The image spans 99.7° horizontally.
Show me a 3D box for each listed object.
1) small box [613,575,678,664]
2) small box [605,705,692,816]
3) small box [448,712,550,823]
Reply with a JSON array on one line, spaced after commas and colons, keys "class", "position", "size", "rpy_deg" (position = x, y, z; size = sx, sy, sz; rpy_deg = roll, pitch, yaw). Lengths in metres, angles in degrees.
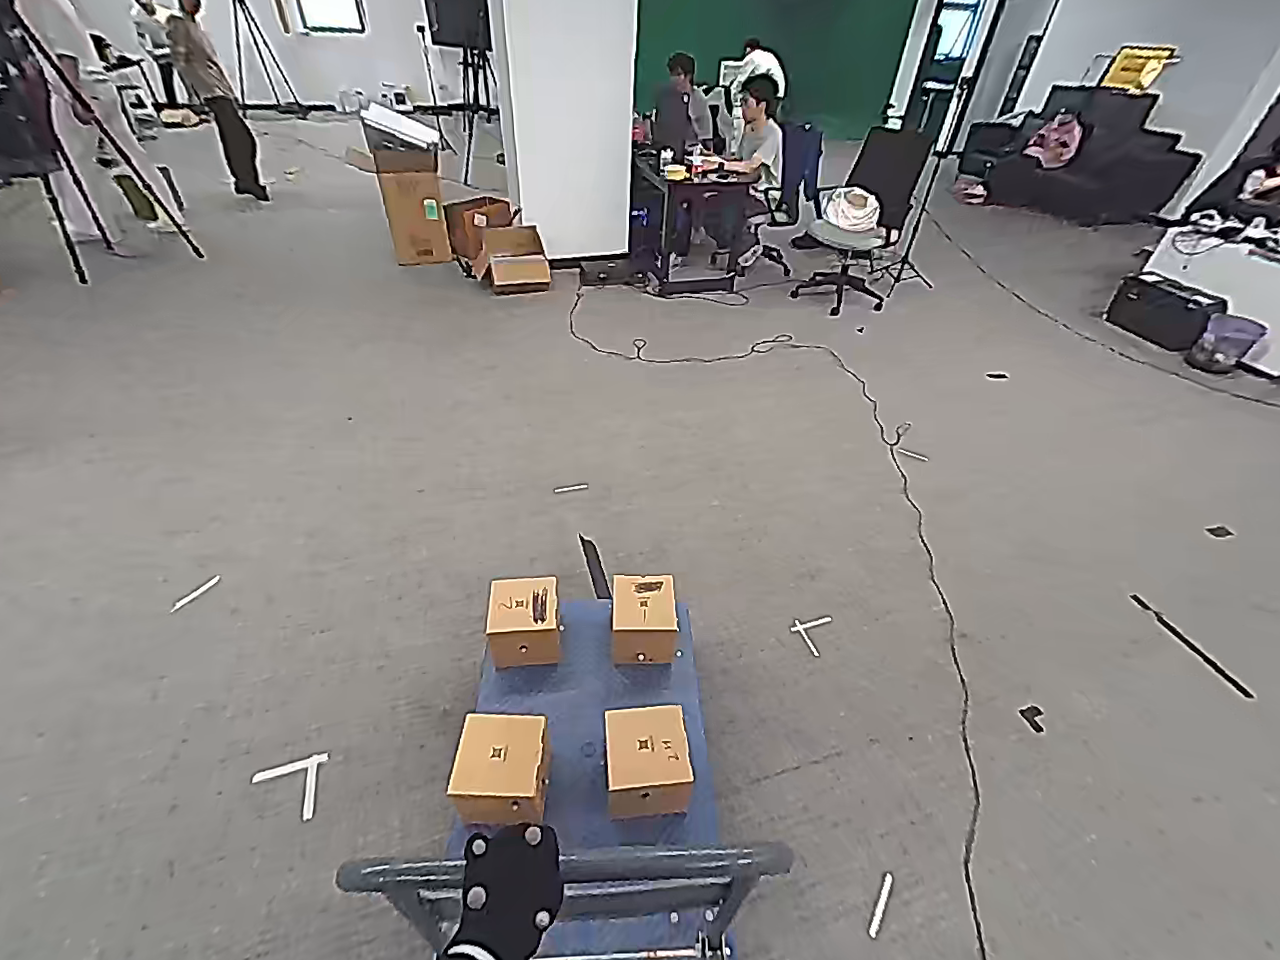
[{"class": "small box", "position": [0.011, 0.382, 1.480], "size": [0.168, 0.176, 0.179], "rpy_deg": [1, 42, -2]}, {"class": "small box", "position": [0.013, 0.624, 1.200], "size": [0.179, 0.176, 0.168], "rpy_deg": [-2, 41, -5]}, {"class": "small box", "position": [-0.296, 0.627, 1.178], "size": [0.179, 0.176, 0.168], "rpy_deg": [3, 40, -2]}]
